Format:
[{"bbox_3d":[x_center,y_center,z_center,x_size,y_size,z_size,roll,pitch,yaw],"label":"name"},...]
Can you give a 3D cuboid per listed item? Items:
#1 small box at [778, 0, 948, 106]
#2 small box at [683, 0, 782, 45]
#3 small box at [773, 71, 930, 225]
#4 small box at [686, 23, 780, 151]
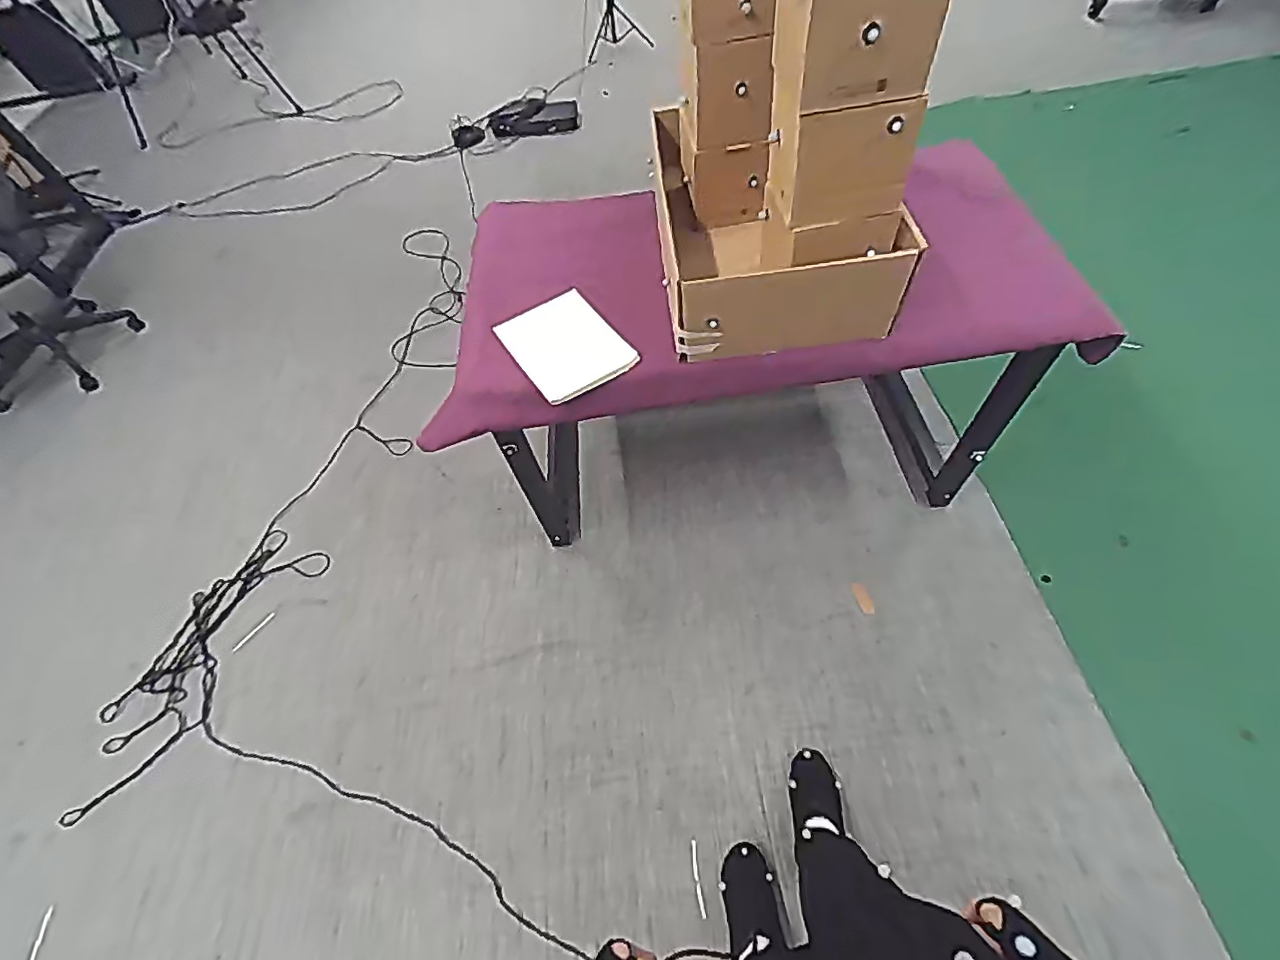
[{"bbox_3d":[0.282,-0.607,0.696,0.168,0.176,0.179,-6,55,3],"label":"small box"},{"bbox_3d":[0.163,-0.830,0.859,0.179,0.176,0.168,-6,58,1],"label":"small box"},{"bbox_3d":[0.306,-0.516,0.832,0.179,0.176,0.168,-6,55,3],"label":"small box"},{"bbox_3d":[0.181,-0.741,0.996,0.179,0.176,0.168,-9,58,1],"label":"small box"}]
